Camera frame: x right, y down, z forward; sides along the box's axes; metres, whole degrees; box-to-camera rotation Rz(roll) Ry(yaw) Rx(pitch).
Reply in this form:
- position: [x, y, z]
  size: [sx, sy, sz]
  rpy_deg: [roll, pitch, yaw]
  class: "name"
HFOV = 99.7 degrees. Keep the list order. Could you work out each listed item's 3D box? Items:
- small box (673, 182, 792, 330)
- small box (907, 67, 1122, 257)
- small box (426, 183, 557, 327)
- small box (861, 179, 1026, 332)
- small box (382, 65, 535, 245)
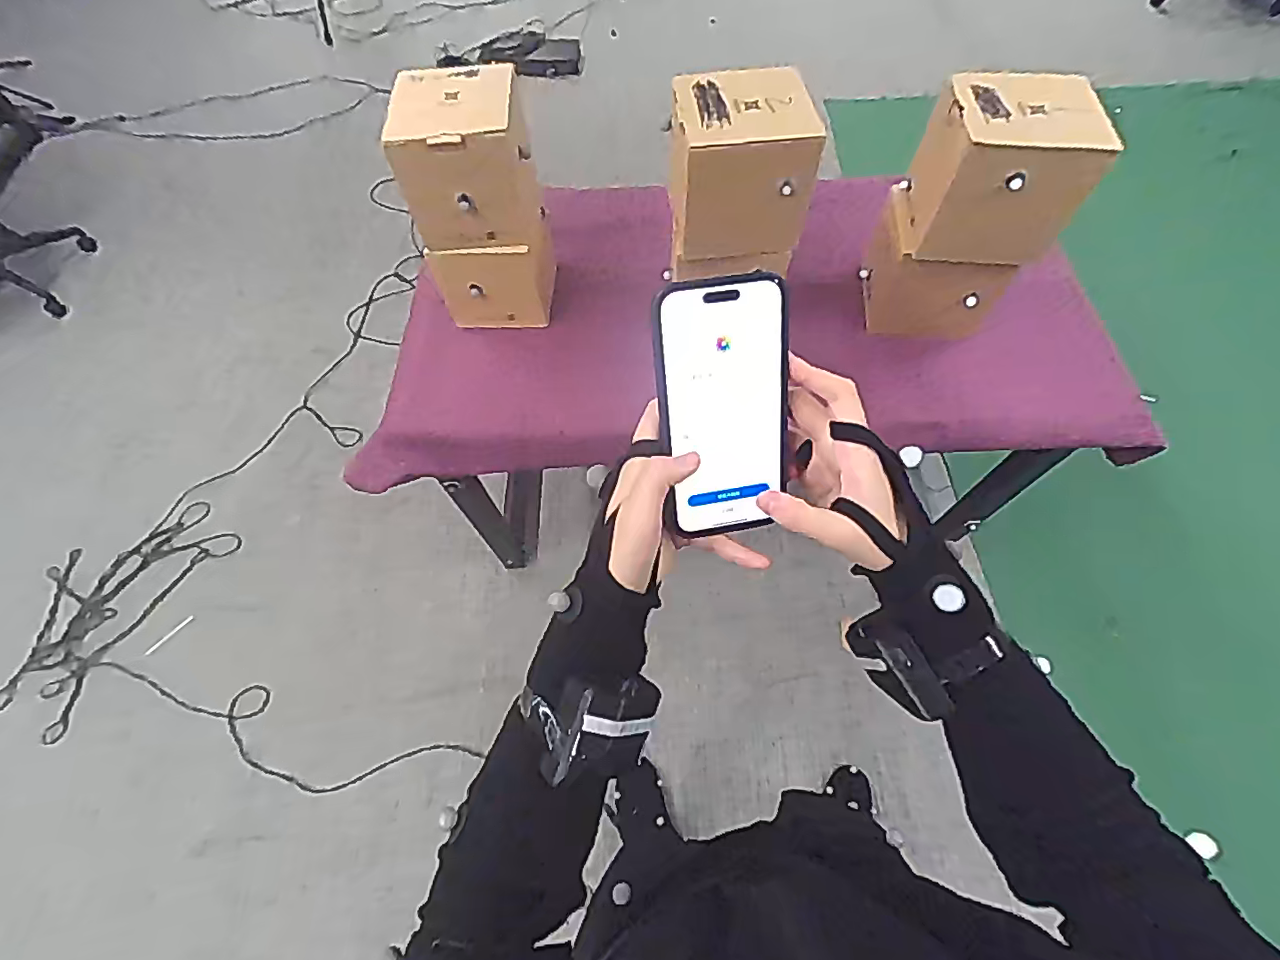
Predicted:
- position: [0.145, -0.372, 0.912]
  size: [0.179, 0.176, 0.168]
  rpy_deg: [-1, 61, 3]
  class: "small box"
- position: [0.486, -0.429, 0.740]
  size: [0.179, 0.176, 0.168]
  rpy_deg: [5, 62, 5]
  class: "small box"
- position: [-0.245, -0.383, 0.941]
  size: [0.168, 0.176, 0.179]
  rpy_deg: [0, 61, 3]
  class: "small box"
- position: [0.484, -0.364, 0.891]
  size: [0.179, 0.176, 0.168]
  rpy_deg: [5, 61, 6]
  class: "small box"
- position: [-0.253, -0.469, 0.800]
  size: [0.168, 0.176, 0.179]
  rpy_deg: [-5, 62, 0]
  class: "small box"
